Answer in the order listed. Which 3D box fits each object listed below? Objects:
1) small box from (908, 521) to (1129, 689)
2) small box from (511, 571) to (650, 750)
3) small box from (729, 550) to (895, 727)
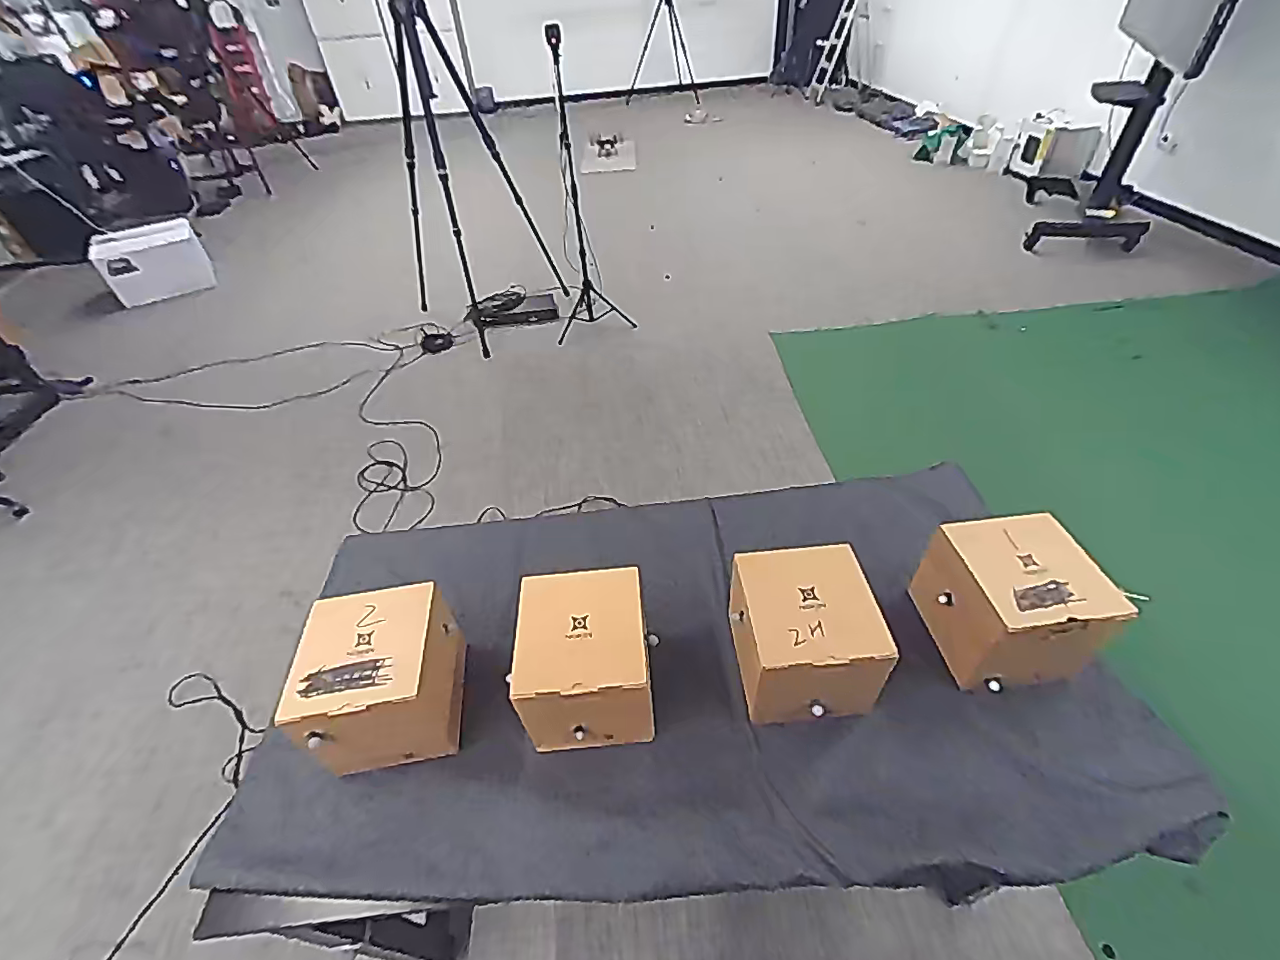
[{"bbox_3d":[0.520,0.184,0.777,0.168,0.176,0.179,-5,43,-2],"label":"small box"},{"bbox_3d":[-0.074,0.250,0.751,0.168,0.176,0.179,-4,44,-2],"label":"small box"},{"bbox_3d":[0.223,0.221,0.759,0.168,0.176,0.179,-5,44,0],"label":"small box"}]
